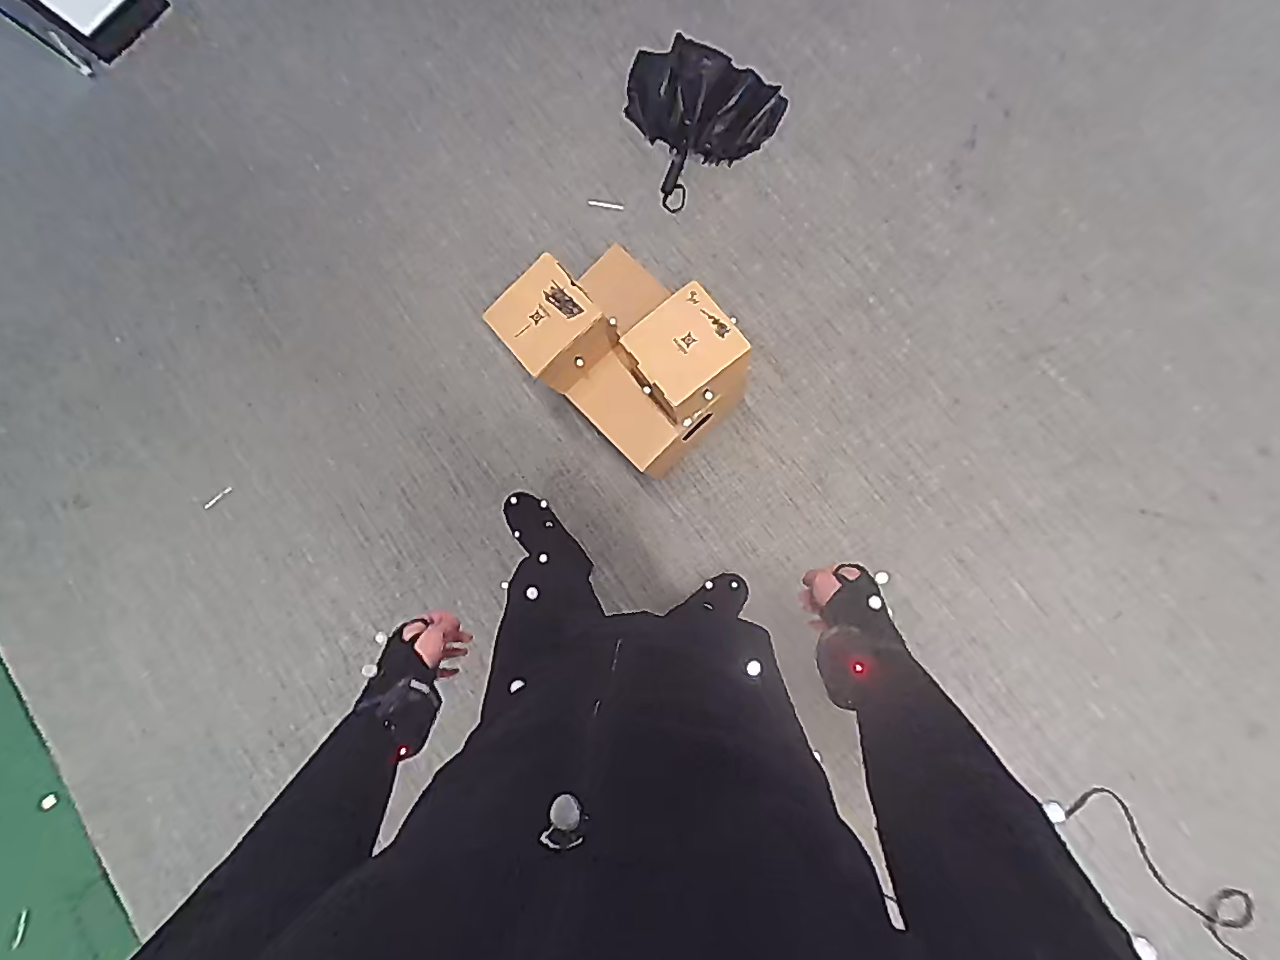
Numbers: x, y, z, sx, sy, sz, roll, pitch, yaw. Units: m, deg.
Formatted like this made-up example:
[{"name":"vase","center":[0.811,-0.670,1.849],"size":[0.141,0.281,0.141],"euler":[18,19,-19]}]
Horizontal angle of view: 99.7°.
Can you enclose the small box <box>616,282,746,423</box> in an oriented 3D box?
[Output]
[{"name":"small box","center":[0.081,-0.230,1.031],"size":[0.179,0.176,0.168],"euler":[-38,82,1]}]

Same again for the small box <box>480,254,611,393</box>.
[{"name":"small box","center":[-0.174,-0.299,1.070],"size":[0.179,0.176,0.168],"euler":[-40,81,6]}]
